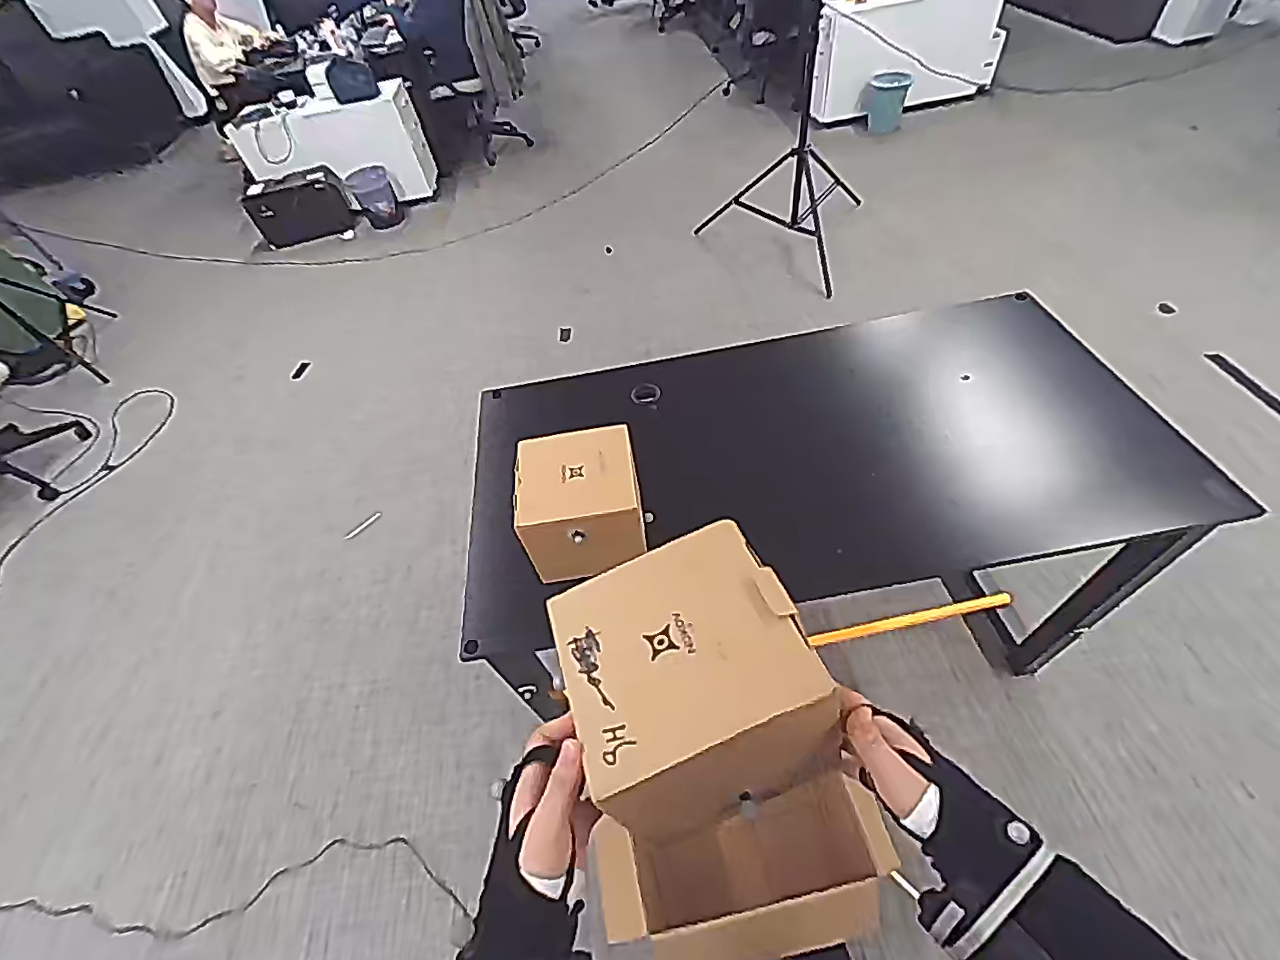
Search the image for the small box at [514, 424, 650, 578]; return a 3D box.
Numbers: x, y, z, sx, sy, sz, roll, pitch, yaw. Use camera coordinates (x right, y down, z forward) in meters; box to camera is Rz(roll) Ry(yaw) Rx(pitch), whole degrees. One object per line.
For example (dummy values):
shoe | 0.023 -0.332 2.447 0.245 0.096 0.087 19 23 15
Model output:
small box | -0.087 0.039 0.851 0.179 0.176 0.168 -9 52 0
